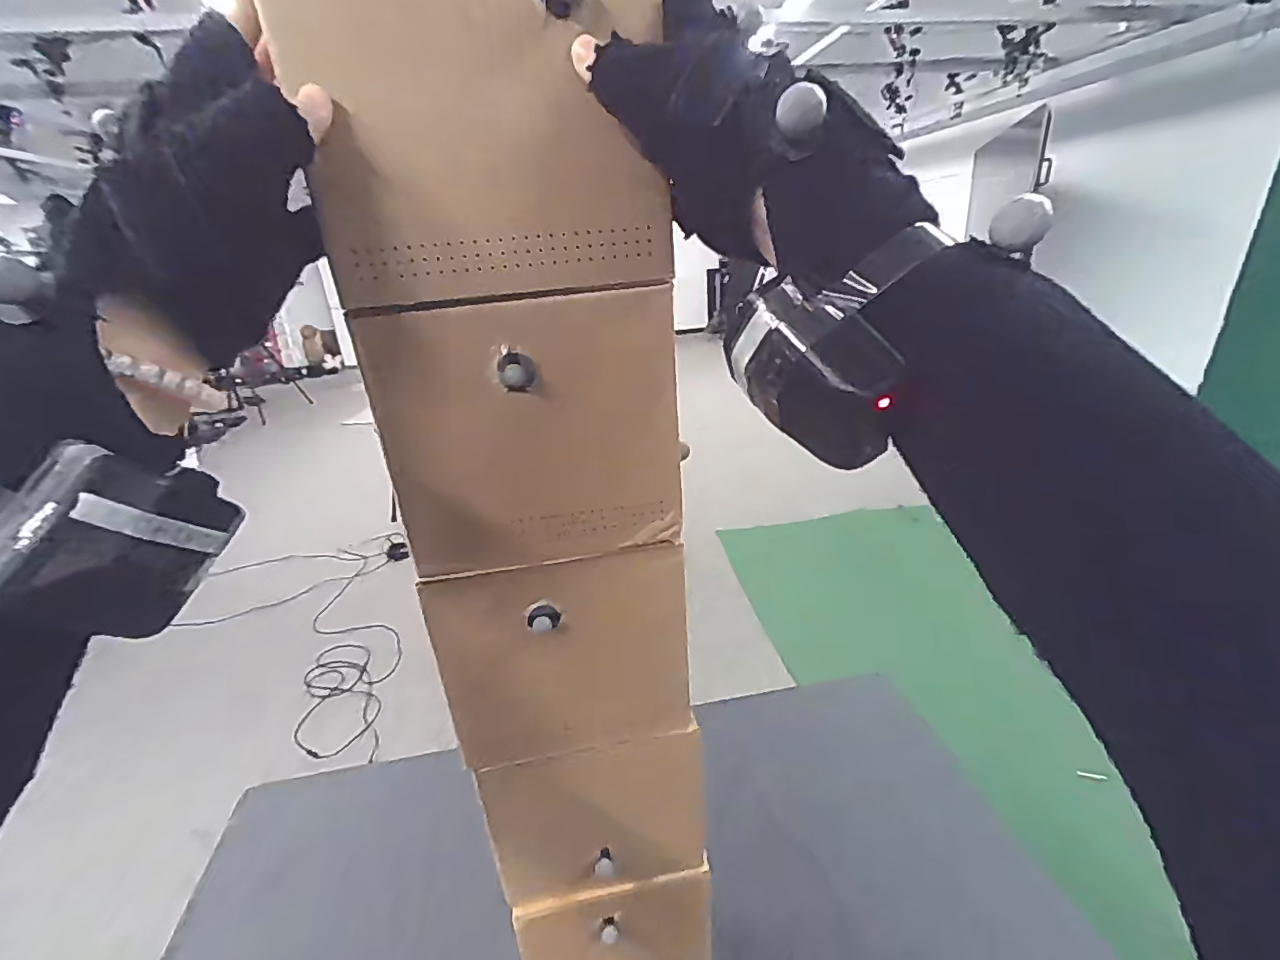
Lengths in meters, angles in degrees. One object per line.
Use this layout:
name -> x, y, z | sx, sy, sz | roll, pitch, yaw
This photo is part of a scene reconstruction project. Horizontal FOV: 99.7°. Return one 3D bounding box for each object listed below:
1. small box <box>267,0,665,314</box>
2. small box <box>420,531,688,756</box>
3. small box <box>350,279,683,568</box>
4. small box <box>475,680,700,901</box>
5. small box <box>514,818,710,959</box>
small box -> -0.084, -0.200, 0.330 | 0.179, 0.176, 0.168 | -8, 23, -8
small box -> -0.064, 0.101, 0.457 | 0.179, 0.176, 0.168 | -7, 23, -8
small box -> -0.072, -0.050, 0.395 | 0.179, 0.176, 0.168 | -7, 23, -5
small box -> -0.046, 0.253, 0.517 | 0.179, 0.176, 0.168 | -6, 22, -7
small box -> -0.032, 0.406, 0.574 | 0.179, 0.176, 0.168 | -8, 23, -8
